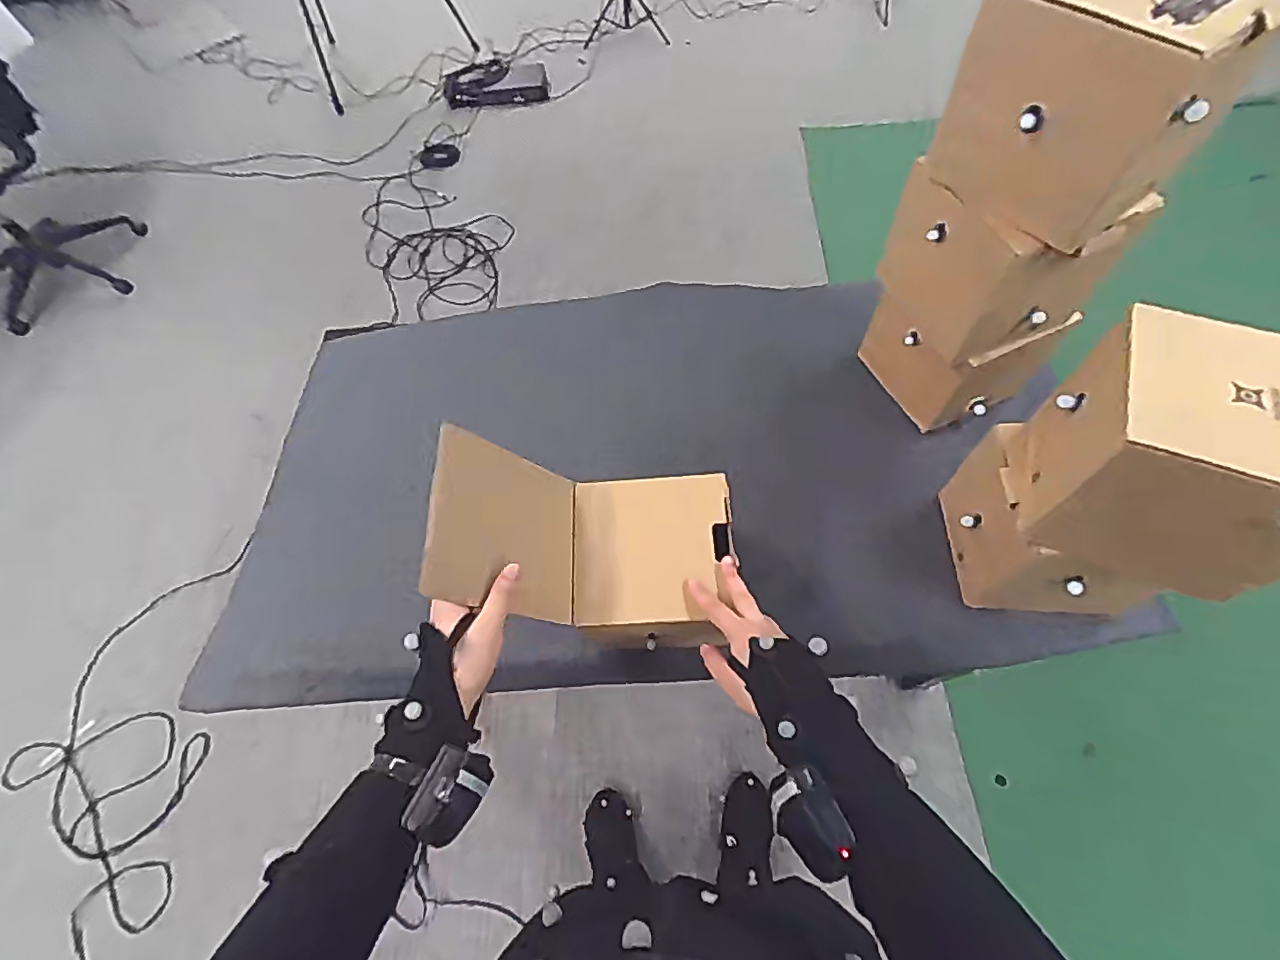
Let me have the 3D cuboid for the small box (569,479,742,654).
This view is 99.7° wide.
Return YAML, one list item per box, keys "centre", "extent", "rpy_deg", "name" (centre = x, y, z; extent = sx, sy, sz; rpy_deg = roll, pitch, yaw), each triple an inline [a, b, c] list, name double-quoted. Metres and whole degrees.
- centre: [0.019, 0.110, 0.646]
  extent: [0.179, 0.176, 0.168]
  rpy_deg: [-4, 64, 4]
  name: "small box"

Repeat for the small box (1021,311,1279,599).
- centre: [0.481, -0.015, 0.483]
  extent: [0.179, 0.176, 0.168]
  rpy_deg: [21, 63, 16]
  name: "small box"

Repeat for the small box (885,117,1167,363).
- centre: [0.417, -0.270, 0.629]
  extent: [0.168, 0.176, 0.179]
  rpy_deg: [-21, 62, -2]
  name: "small box"

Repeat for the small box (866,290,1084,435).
- centre: [0.455, -0.196, 0.773]
  extent: [0.168, 0.176, 0.179]
  rpy_deg: [-24, 64, -5]
  name: "small box"

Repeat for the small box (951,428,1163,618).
- centre: [0.490, 0.055, 0.631]
  extent: [0.179, 0.176, 0.168]
  rpy_deg: [1, 59, 7]
  name: "small box"
